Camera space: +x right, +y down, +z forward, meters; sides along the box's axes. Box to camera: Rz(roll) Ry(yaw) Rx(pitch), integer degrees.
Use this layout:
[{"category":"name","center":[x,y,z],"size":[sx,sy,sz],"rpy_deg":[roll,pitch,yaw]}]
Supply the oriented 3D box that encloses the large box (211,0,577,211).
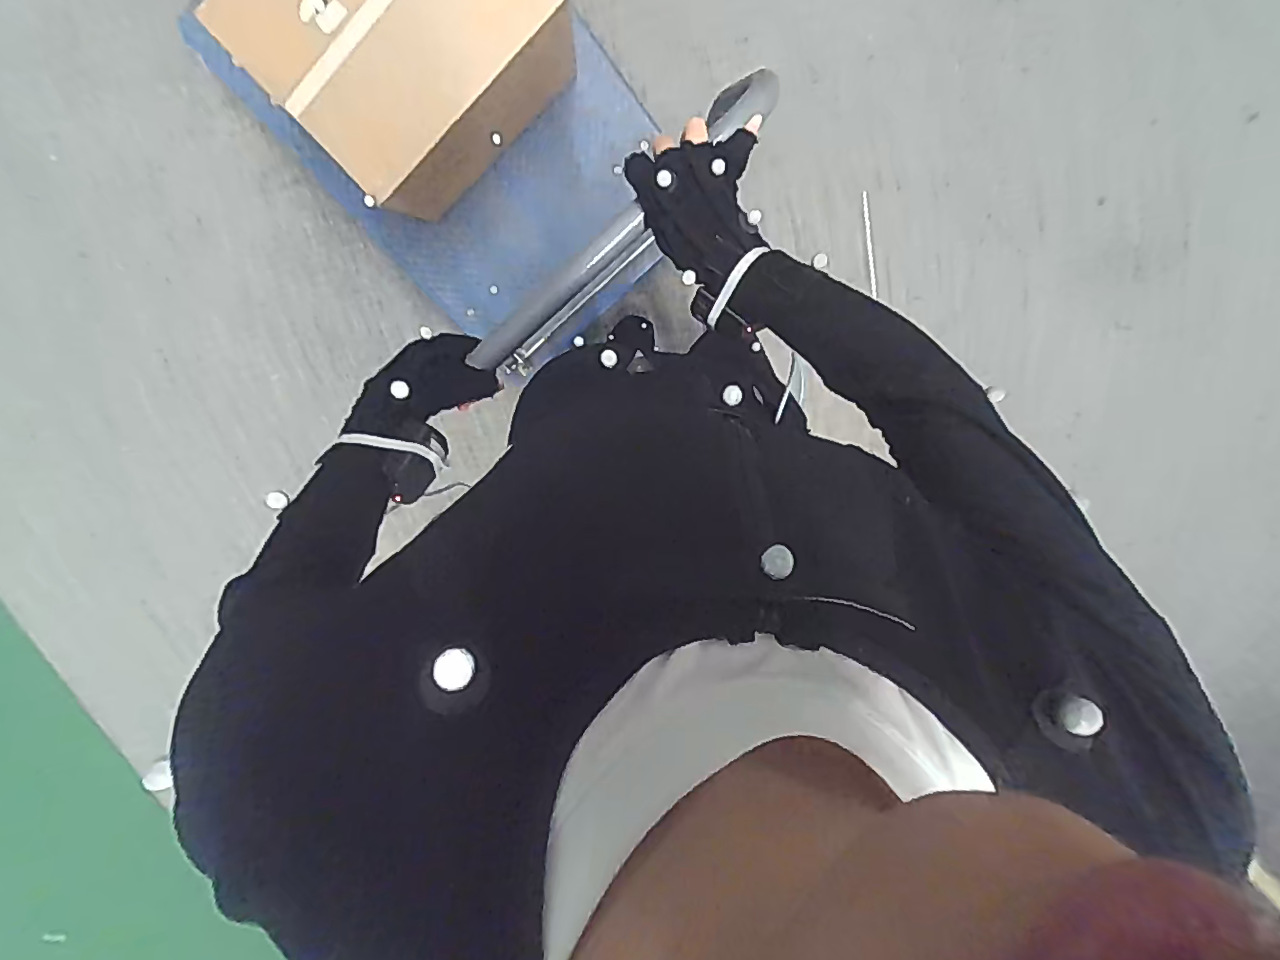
[{"category":"large box","center":[-0.350,-0.718,0.880],"size":[0.408,0.320,0.320],"rpy_deg":[-40,108,11]}]
